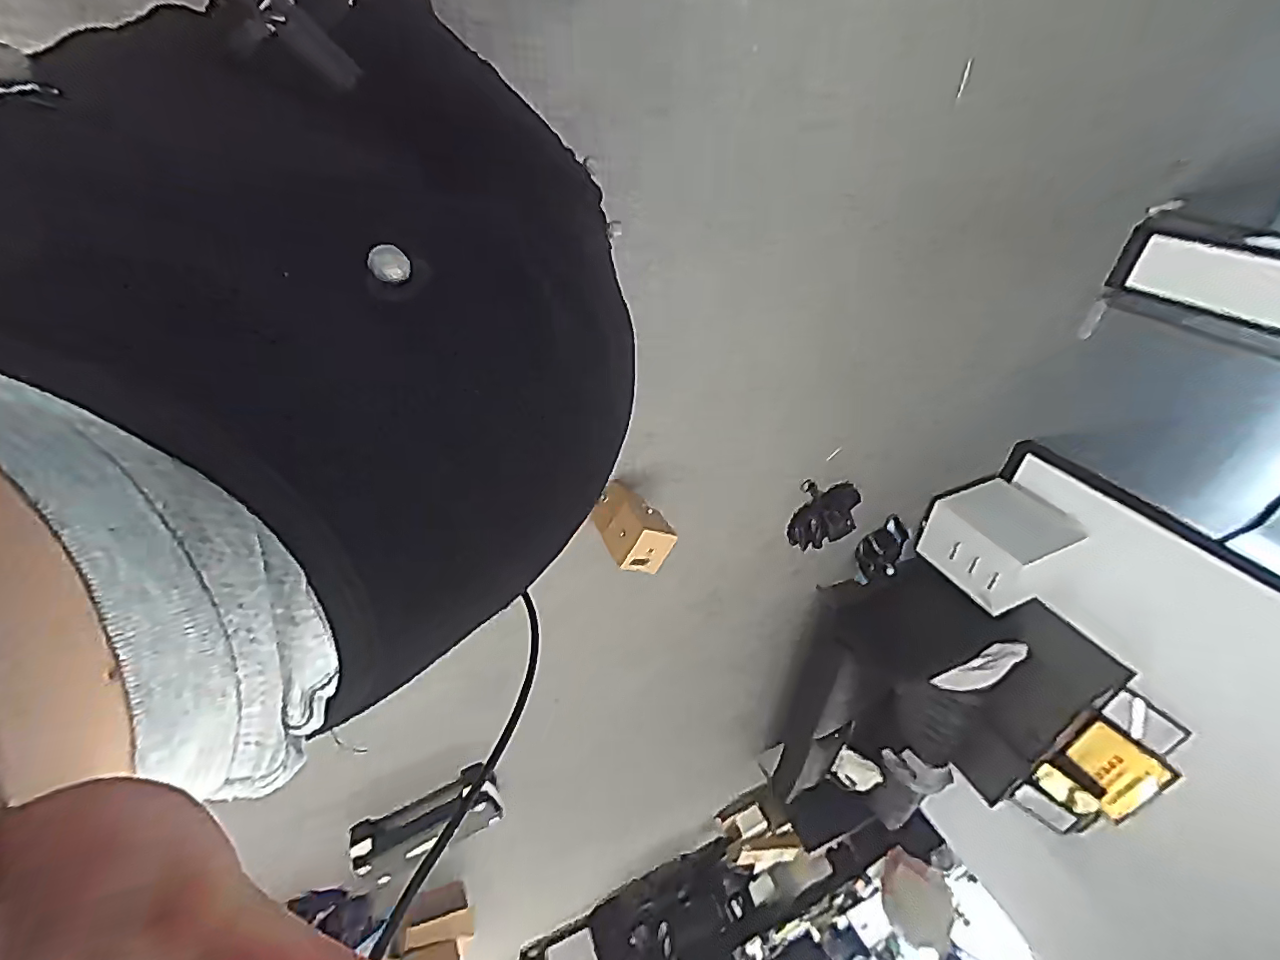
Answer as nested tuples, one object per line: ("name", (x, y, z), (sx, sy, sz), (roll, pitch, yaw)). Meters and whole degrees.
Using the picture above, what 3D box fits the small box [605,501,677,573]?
("small box", (-0.006, 0.203, 1.925), (0.168, 0.176, 0.179), (16, 113, -38))

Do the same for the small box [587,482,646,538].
("small box", (-0.072, 0.133, 2.062), (0.179, 0.176, 0.168), (32, 104, -41))
